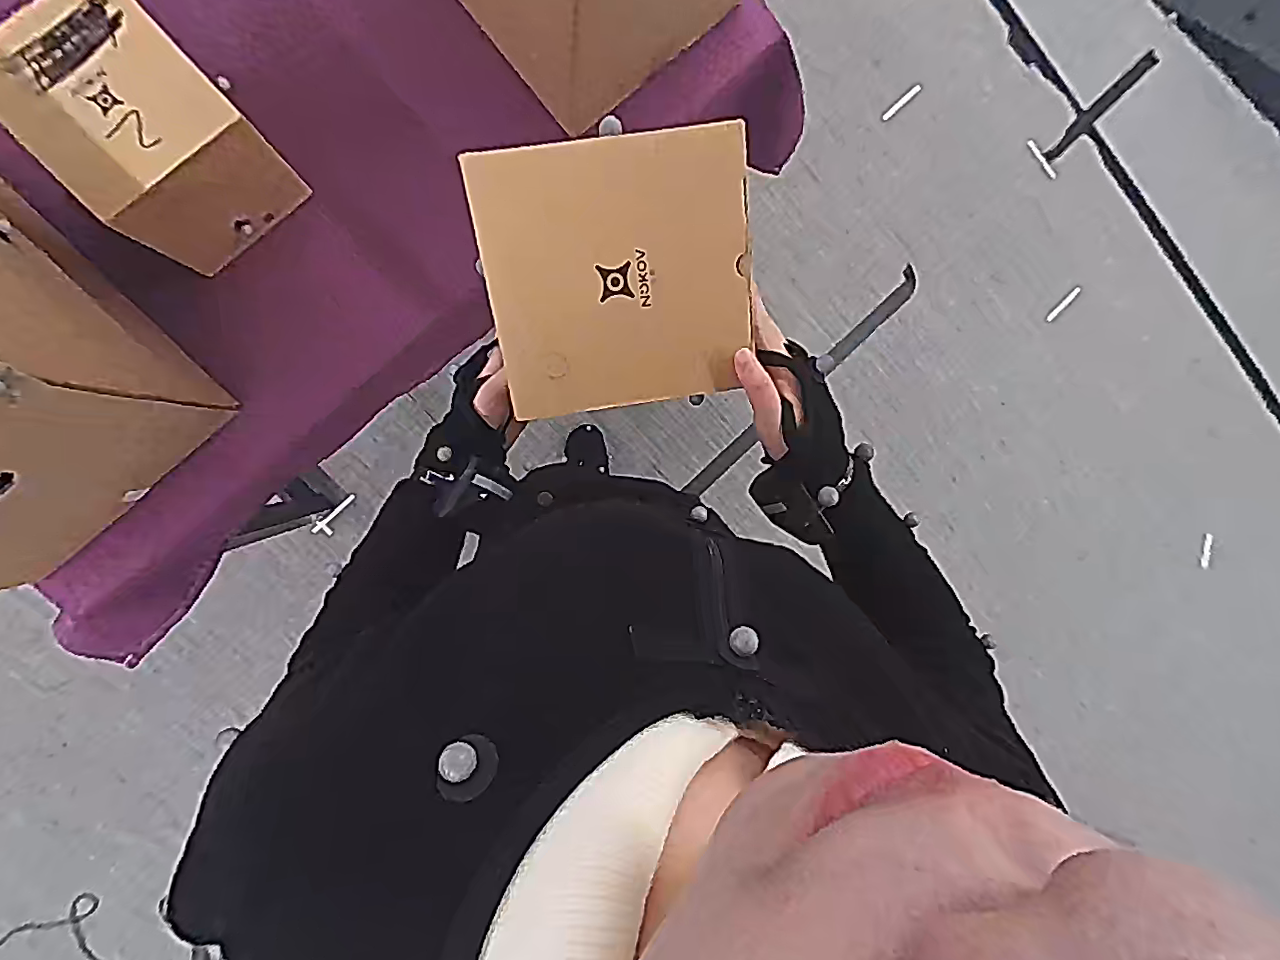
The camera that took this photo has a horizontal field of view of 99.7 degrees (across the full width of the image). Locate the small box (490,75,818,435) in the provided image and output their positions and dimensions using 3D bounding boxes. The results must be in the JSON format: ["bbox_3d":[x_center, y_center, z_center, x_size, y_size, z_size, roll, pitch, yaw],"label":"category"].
[{"bbox_3d":[0.001,-0.144,0.392,0.168,0.176,0.179,-17,95,-21],"label":"small box"}]
